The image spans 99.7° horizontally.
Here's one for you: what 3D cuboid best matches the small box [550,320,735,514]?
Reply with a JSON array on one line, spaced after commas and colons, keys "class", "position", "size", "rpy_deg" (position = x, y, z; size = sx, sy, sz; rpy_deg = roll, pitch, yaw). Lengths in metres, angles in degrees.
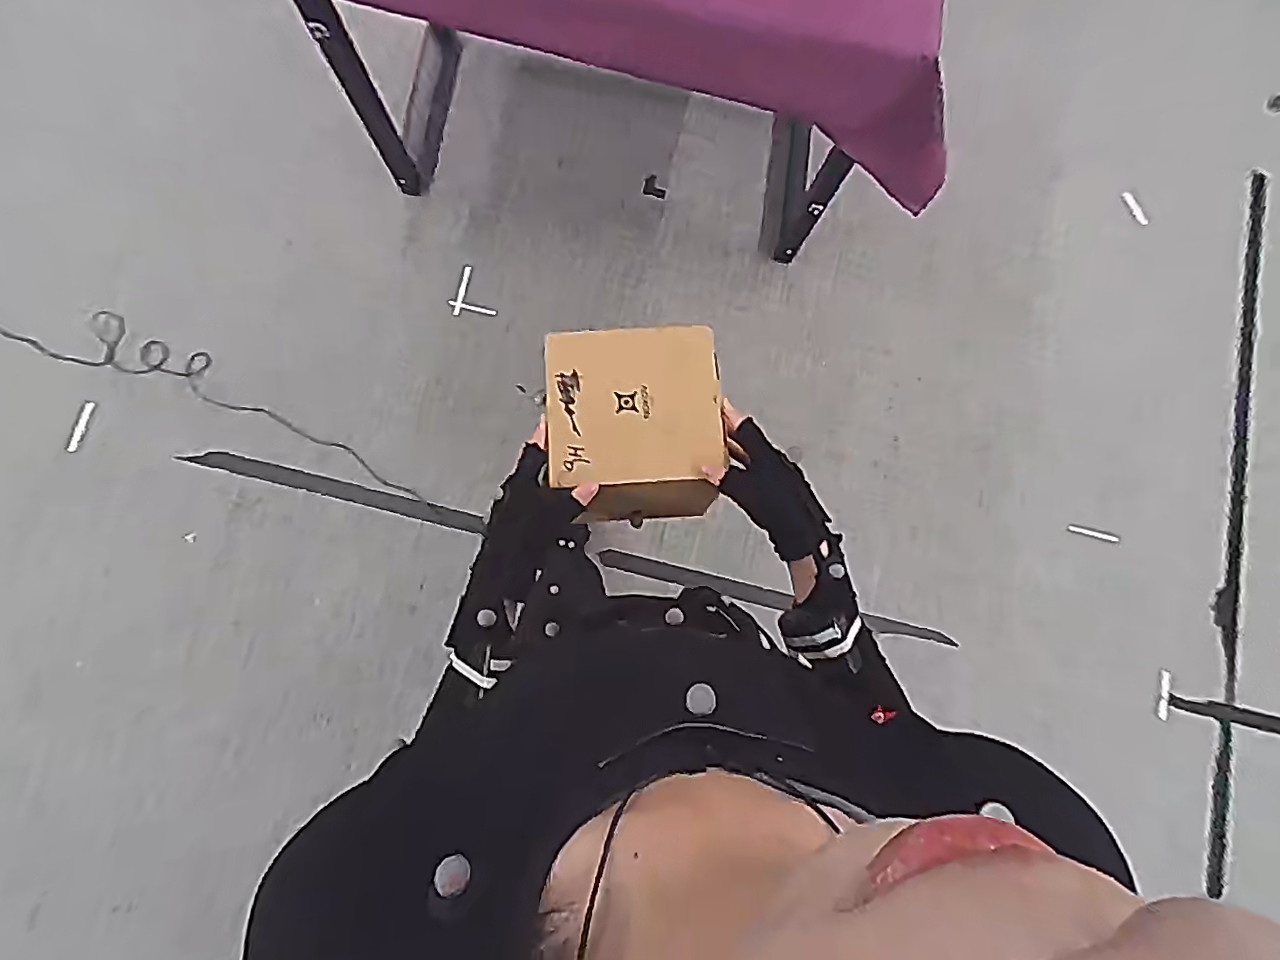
[{"class": "small box", "position": [-0.005, -0.061, 0.605], "size": [0.179, 0.176, 0.168], "rpy_deg": [-3, 74, -4]}]
